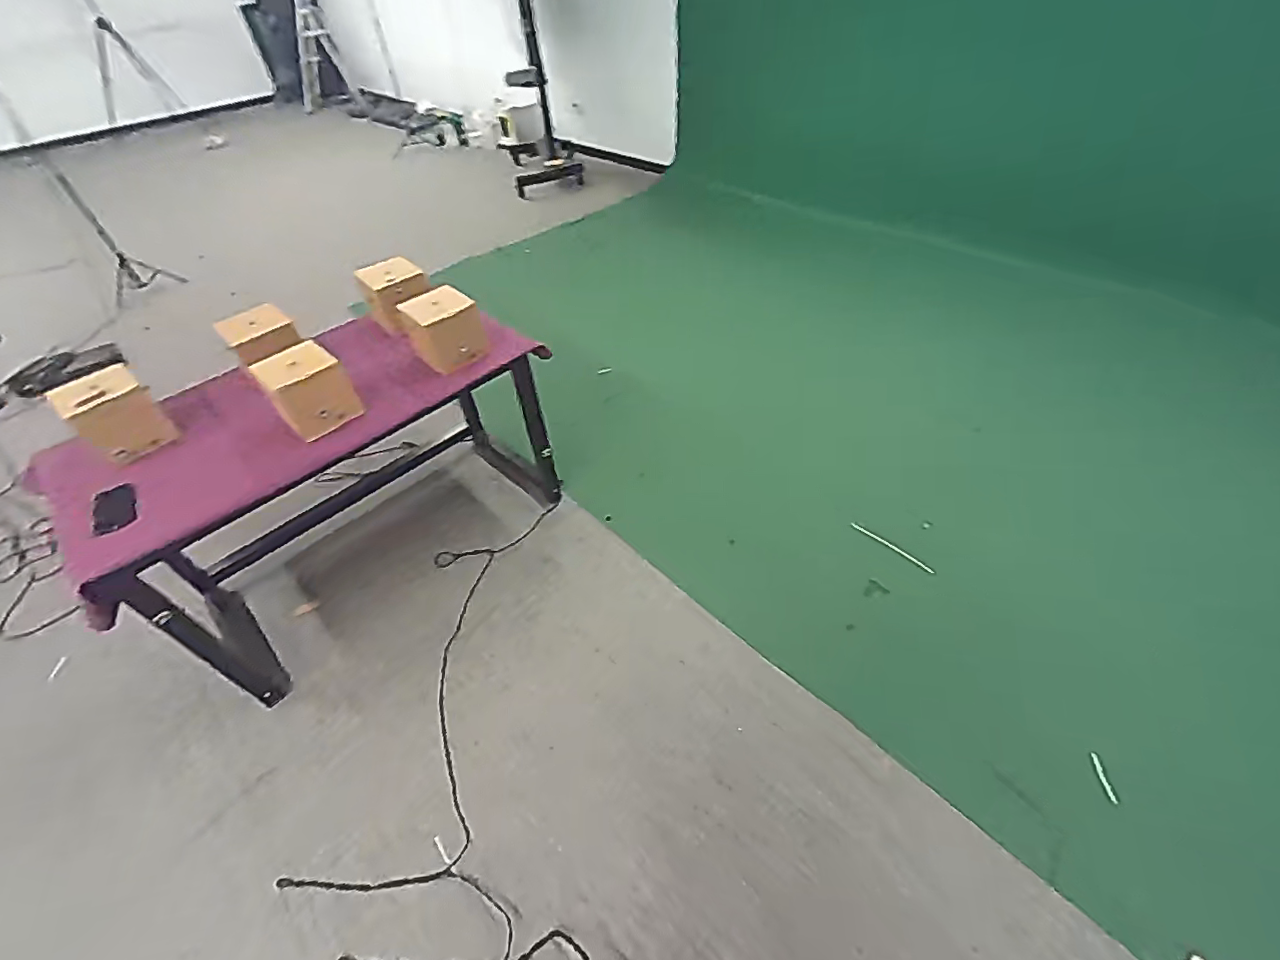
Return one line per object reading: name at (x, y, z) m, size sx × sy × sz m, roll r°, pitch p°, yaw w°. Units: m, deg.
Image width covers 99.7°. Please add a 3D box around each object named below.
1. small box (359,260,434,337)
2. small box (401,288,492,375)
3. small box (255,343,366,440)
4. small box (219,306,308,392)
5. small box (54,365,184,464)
small box at (-0.784, -0.595, 1.779) m, size 0.168 × 0.176 × 0.179 m, roll -35°, pitch 53°, yaw -25°
small box at (-0.569, -0.440, 1.604) m, size 0.168 × 0.176 × 0.179 m, roll -36°, pitch 53°, yaw -25°
small box at (-0.868, -0.233, 1.434) m, size 0.179 × 0.176 × 0.168 m, roll 32°, pitch 56°, yaw 31°
small box at (-1.091, -0.386, 1.602) m, size 0.179 × 0.176 × 0.168 m, roll 34°, pitch 58°, yaw 31°
small box at (-1.344, -0.166, 1.406) m, size 0.179 × 0.176 × 0.168 m, roll 30°, pitch 54°, yaw 30°
